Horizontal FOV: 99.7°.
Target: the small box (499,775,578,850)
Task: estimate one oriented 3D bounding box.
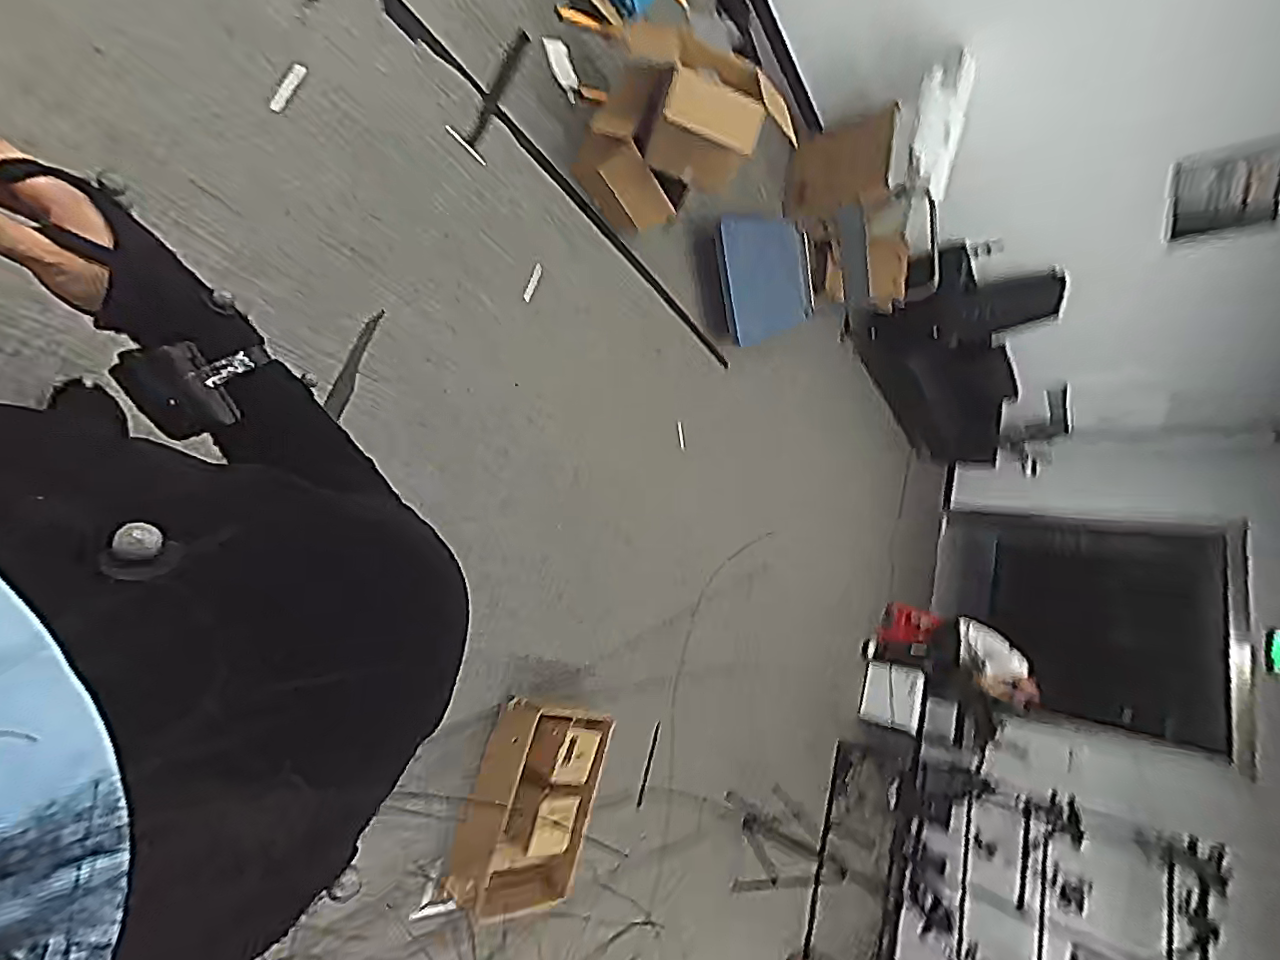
[{"bbox_3d":[-0.345,1.120,1.831,0.179,0.176,0.168,30,69,-45],"label":"small box"}]
